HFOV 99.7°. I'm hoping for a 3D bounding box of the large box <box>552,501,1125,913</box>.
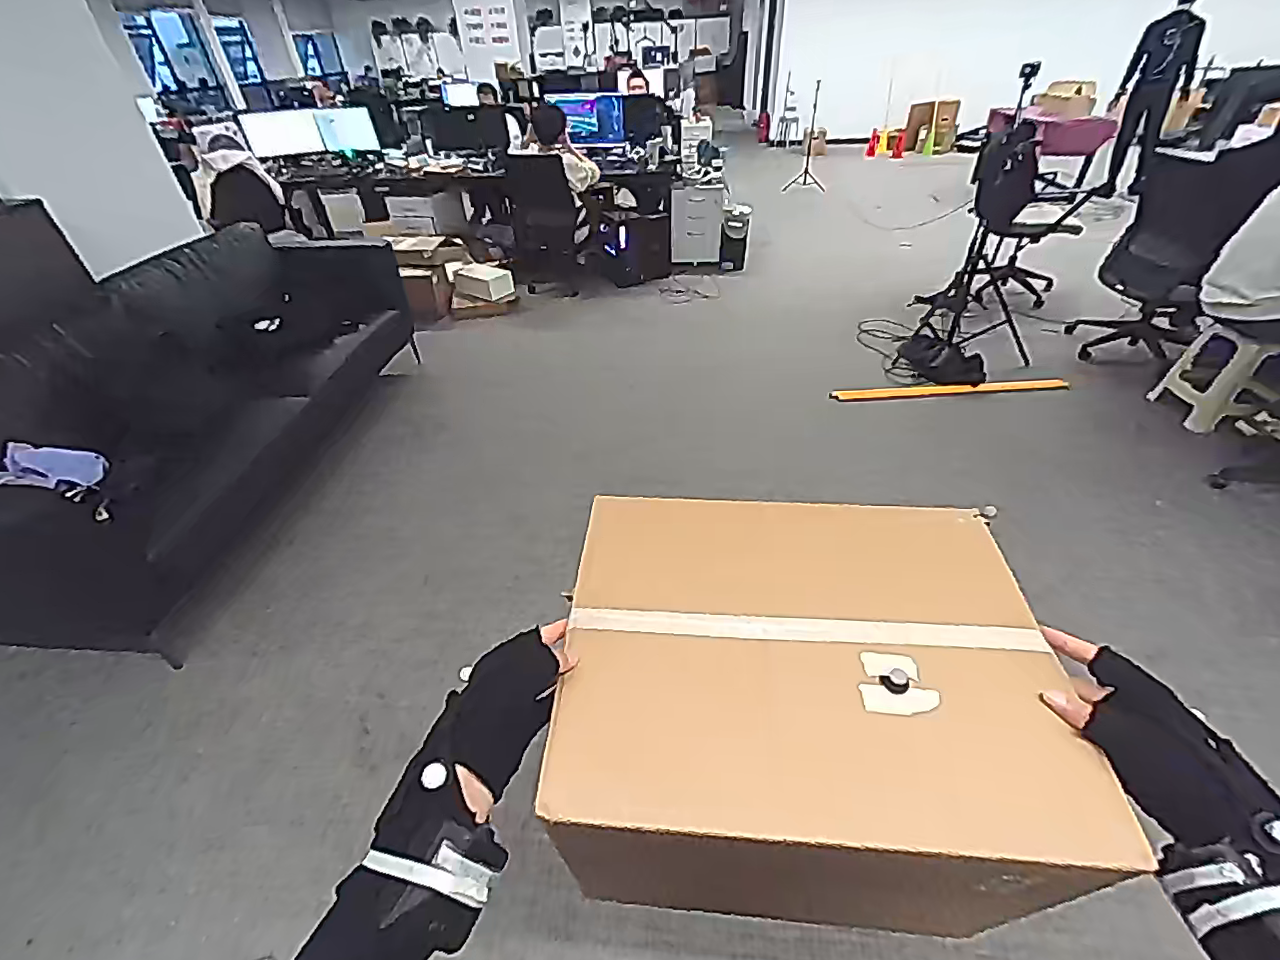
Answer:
[{"bbox_3d":[0.145,0.239,0.585,0.408,0.320,0.320,1,45,5],"label":"large box"}]
